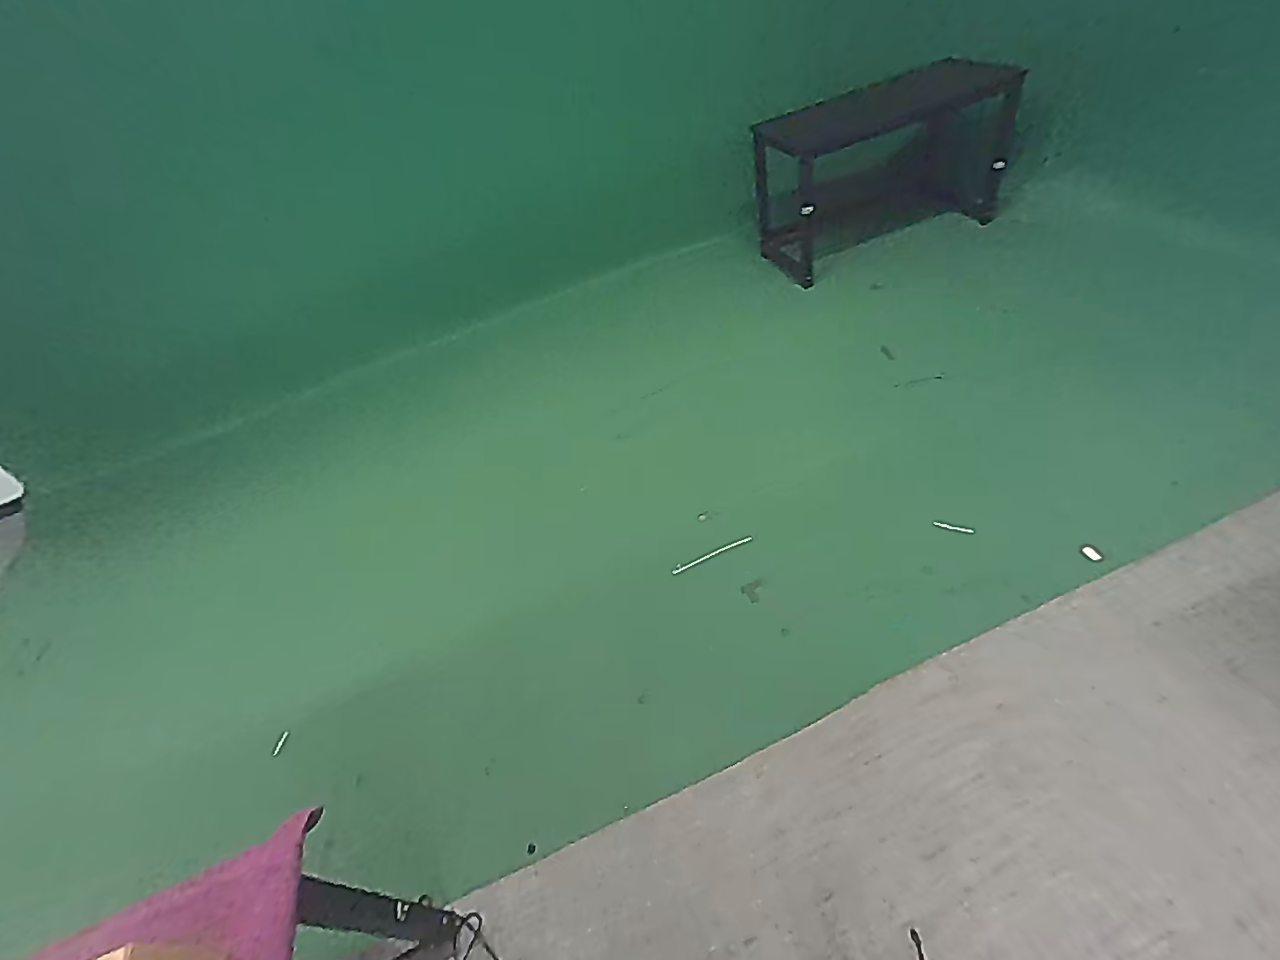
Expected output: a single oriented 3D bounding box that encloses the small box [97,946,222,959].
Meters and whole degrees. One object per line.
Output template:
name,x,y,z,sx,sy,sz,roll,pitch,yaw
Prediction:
small box,-0.672,0.718,0.666,0.179,0.176,0.168,-24,48,-7
